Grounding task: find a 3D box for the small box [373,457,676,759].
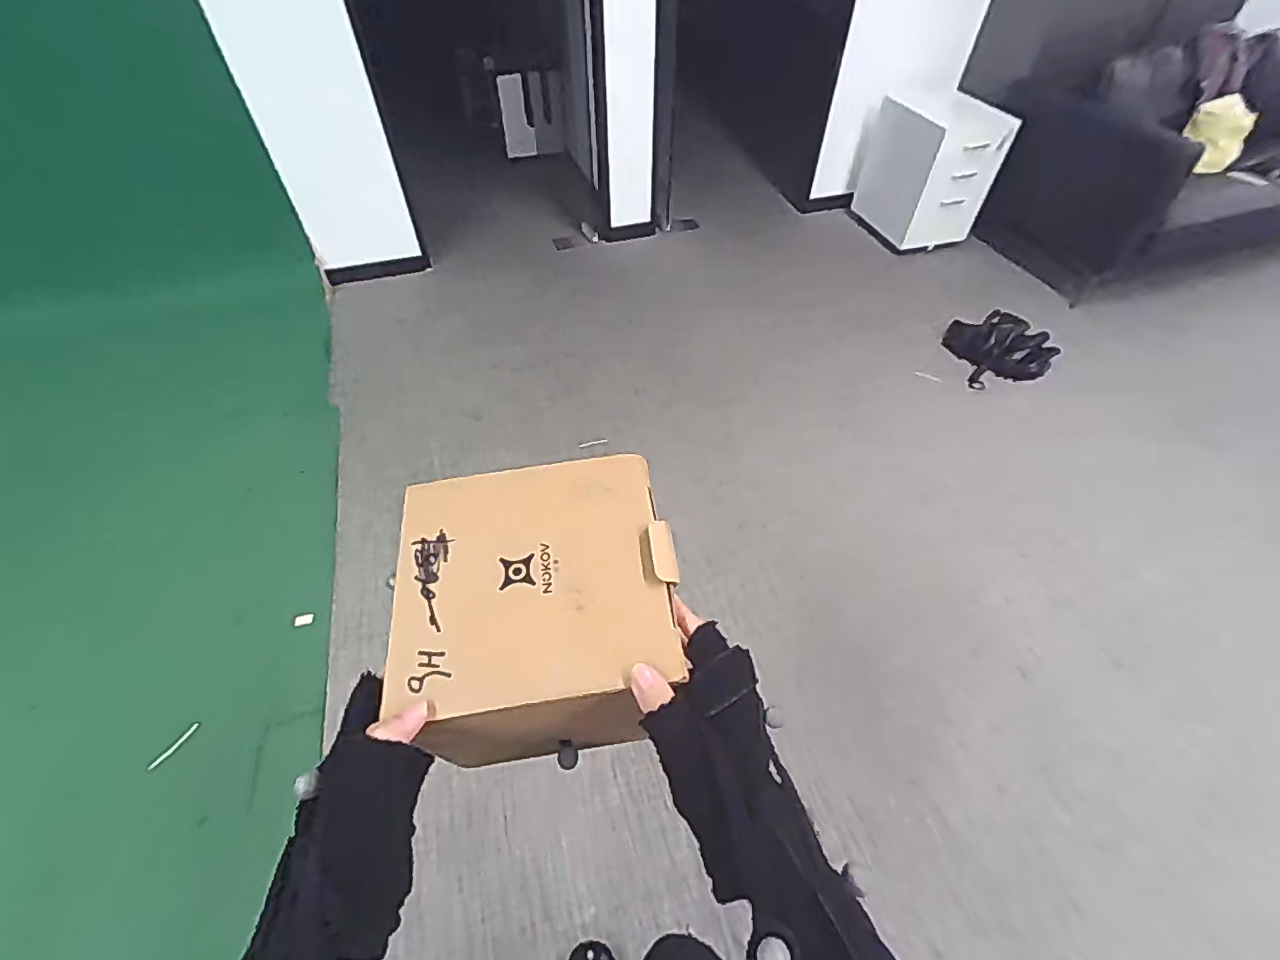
[{"bbox_3d":[-0.073,0.104,0.418,0.179,0.176,0.168,-7,54,-3],"label":"small box"}]
